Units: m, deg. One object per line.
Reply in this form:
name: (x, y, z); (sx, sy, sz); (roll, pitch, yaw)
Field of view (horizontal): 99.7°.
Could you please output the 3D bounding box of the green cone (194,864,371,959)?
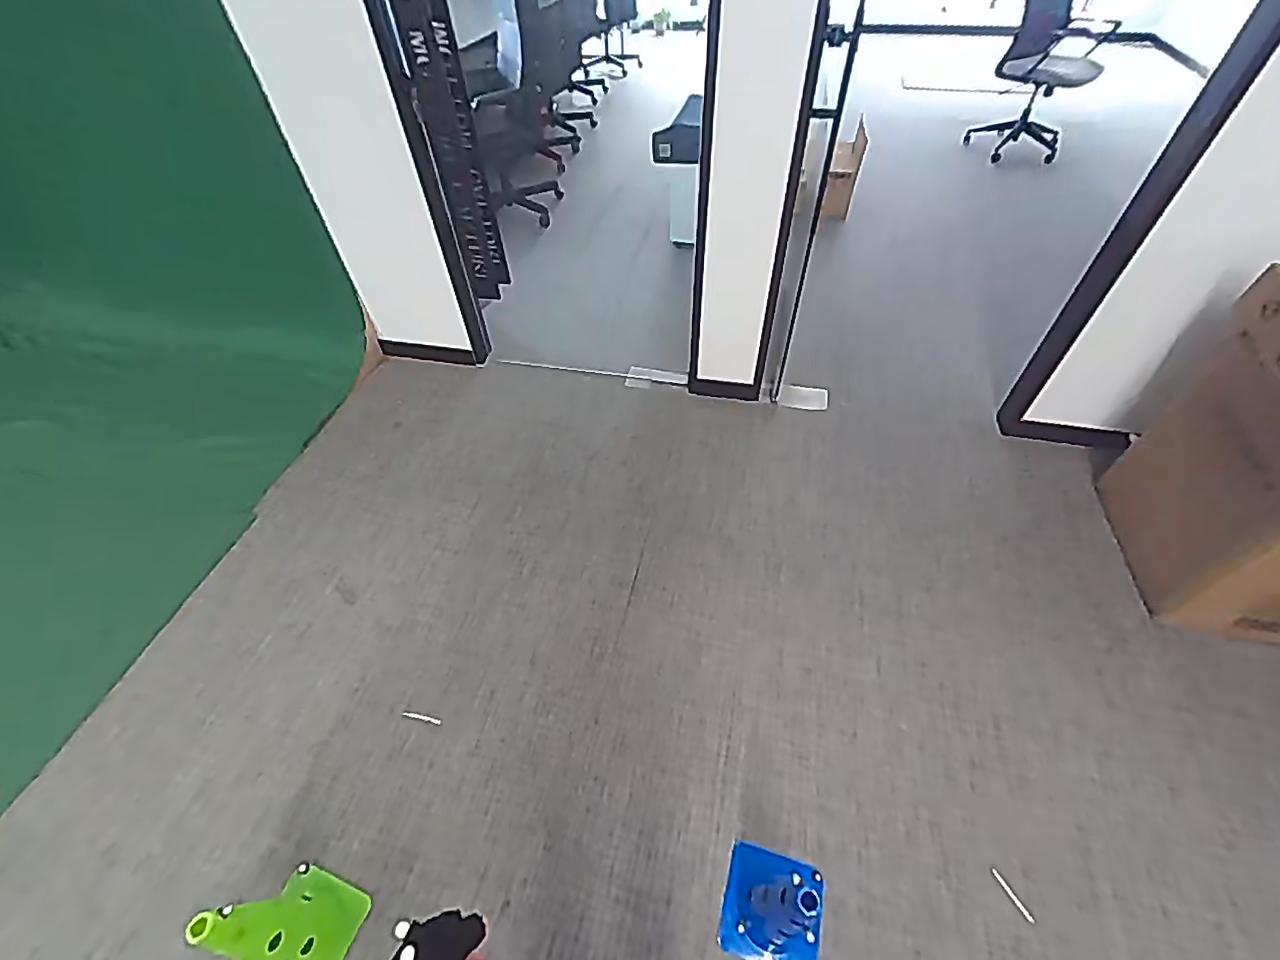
green cone: (-0.701, 0.835, 1.002); (0.202, 0.368, 0.200); (14, 50, 14)
